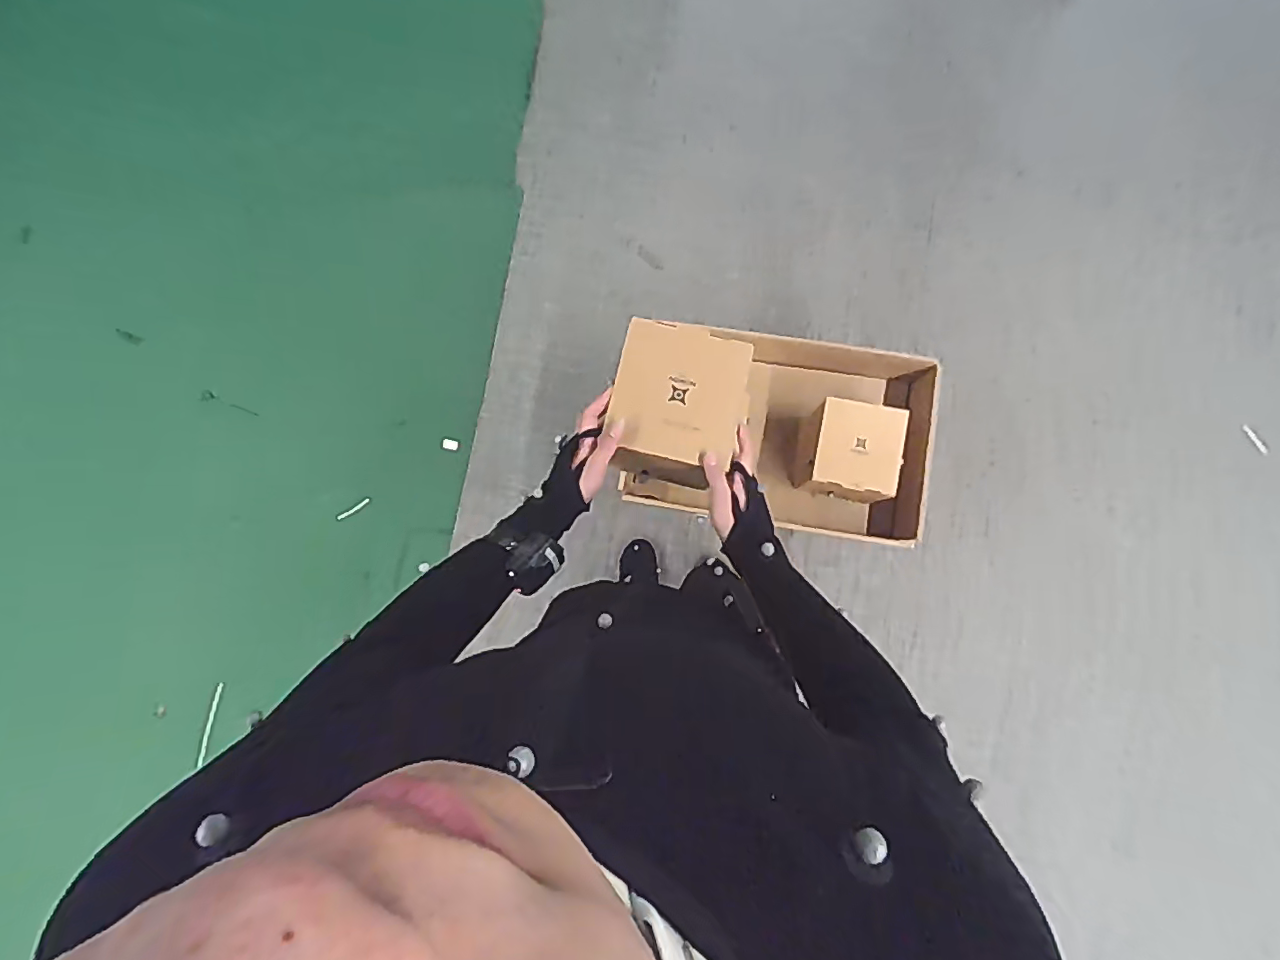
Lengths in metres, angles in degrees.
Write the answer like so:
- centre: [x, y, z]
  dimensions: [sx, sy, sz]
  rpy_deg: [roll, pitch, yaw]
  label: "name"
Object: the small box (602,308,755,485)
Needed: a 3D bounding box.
- centre: [0.045, -0.104, 0.751]
  dimensions: [0.168, 0.176, 0.179]
  rpy_deg: [13, 80, -1]
  label: "small box"
